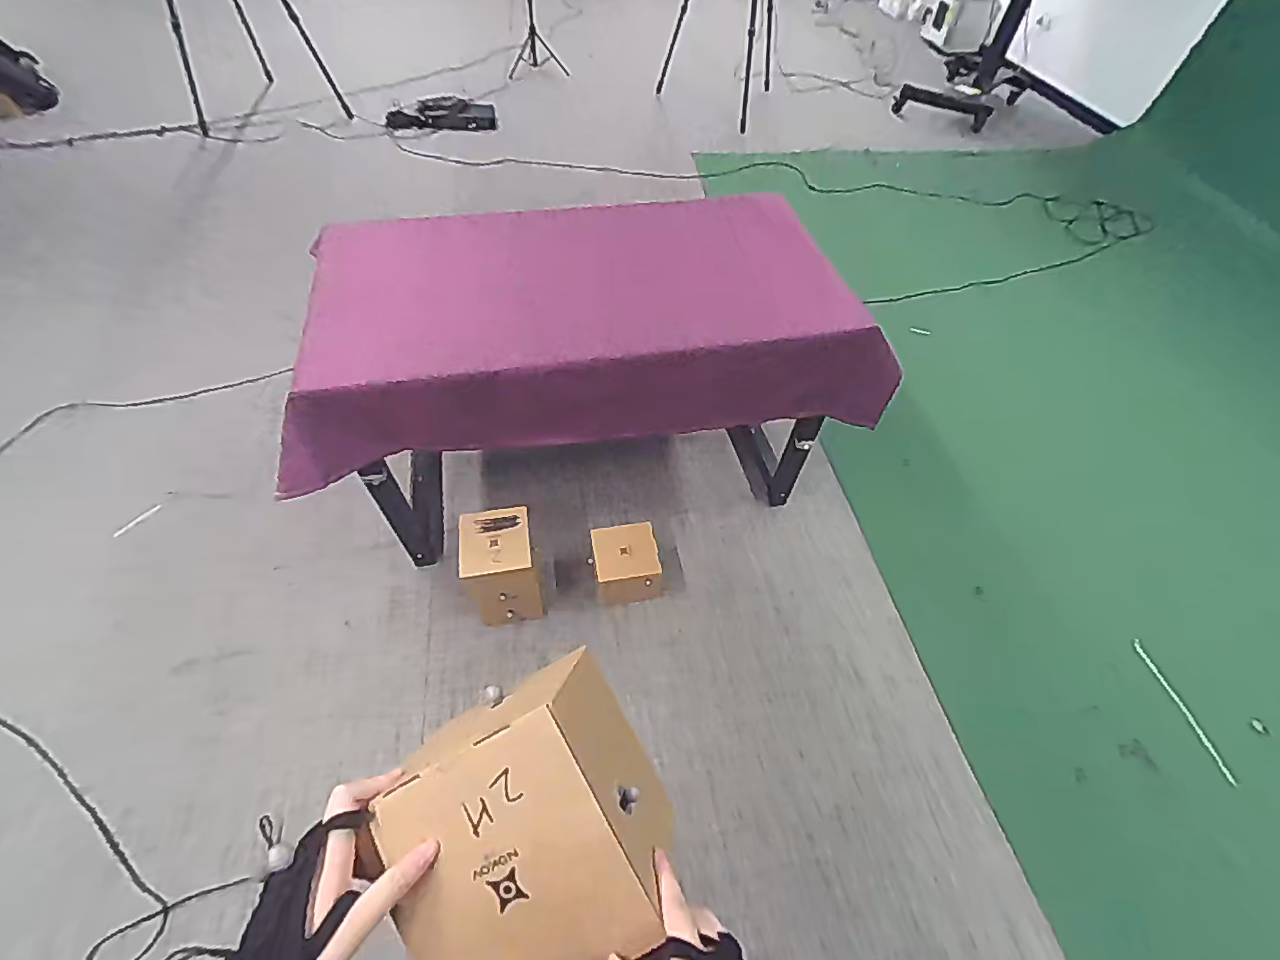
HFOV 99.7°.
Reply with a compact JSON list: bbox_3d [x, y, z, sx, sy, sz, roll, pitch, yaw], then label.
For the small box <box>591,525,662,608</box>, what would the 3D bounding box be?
[{"bbox_3d":[-0.041,0.252,1.549,0.179,0.176,0.168,-7,55,-8],"label":"small box"}]
